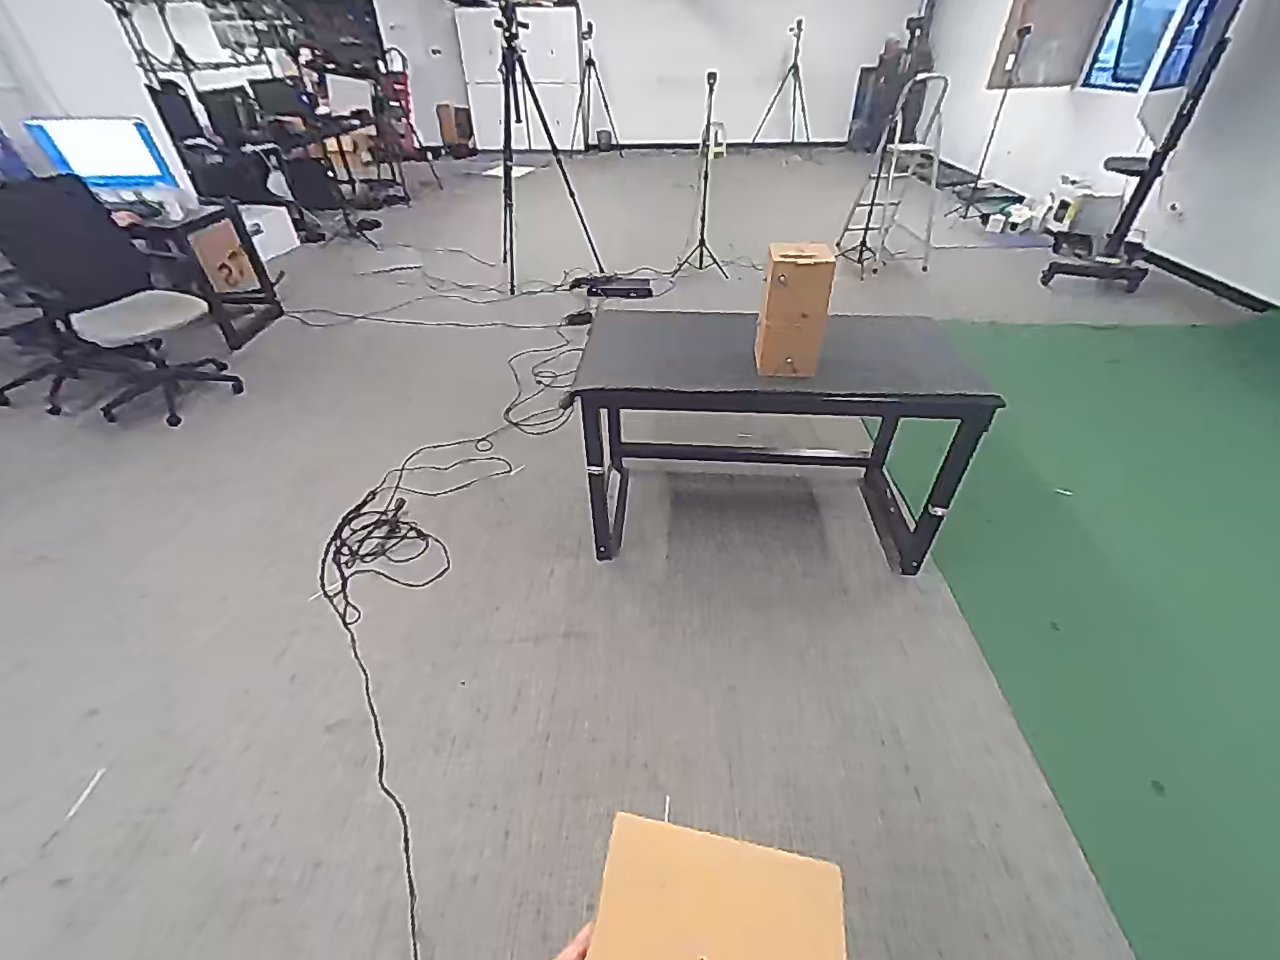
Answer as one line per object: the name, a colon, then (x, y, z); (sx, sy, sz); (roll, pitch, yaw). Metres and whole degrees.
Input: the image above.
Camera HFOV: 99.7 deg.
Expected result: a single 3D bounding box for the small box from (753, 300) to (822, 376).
small box: (0.436, -0.429, 1.627); (0.168, 0.176, 0.179); (2, 39, 5)
